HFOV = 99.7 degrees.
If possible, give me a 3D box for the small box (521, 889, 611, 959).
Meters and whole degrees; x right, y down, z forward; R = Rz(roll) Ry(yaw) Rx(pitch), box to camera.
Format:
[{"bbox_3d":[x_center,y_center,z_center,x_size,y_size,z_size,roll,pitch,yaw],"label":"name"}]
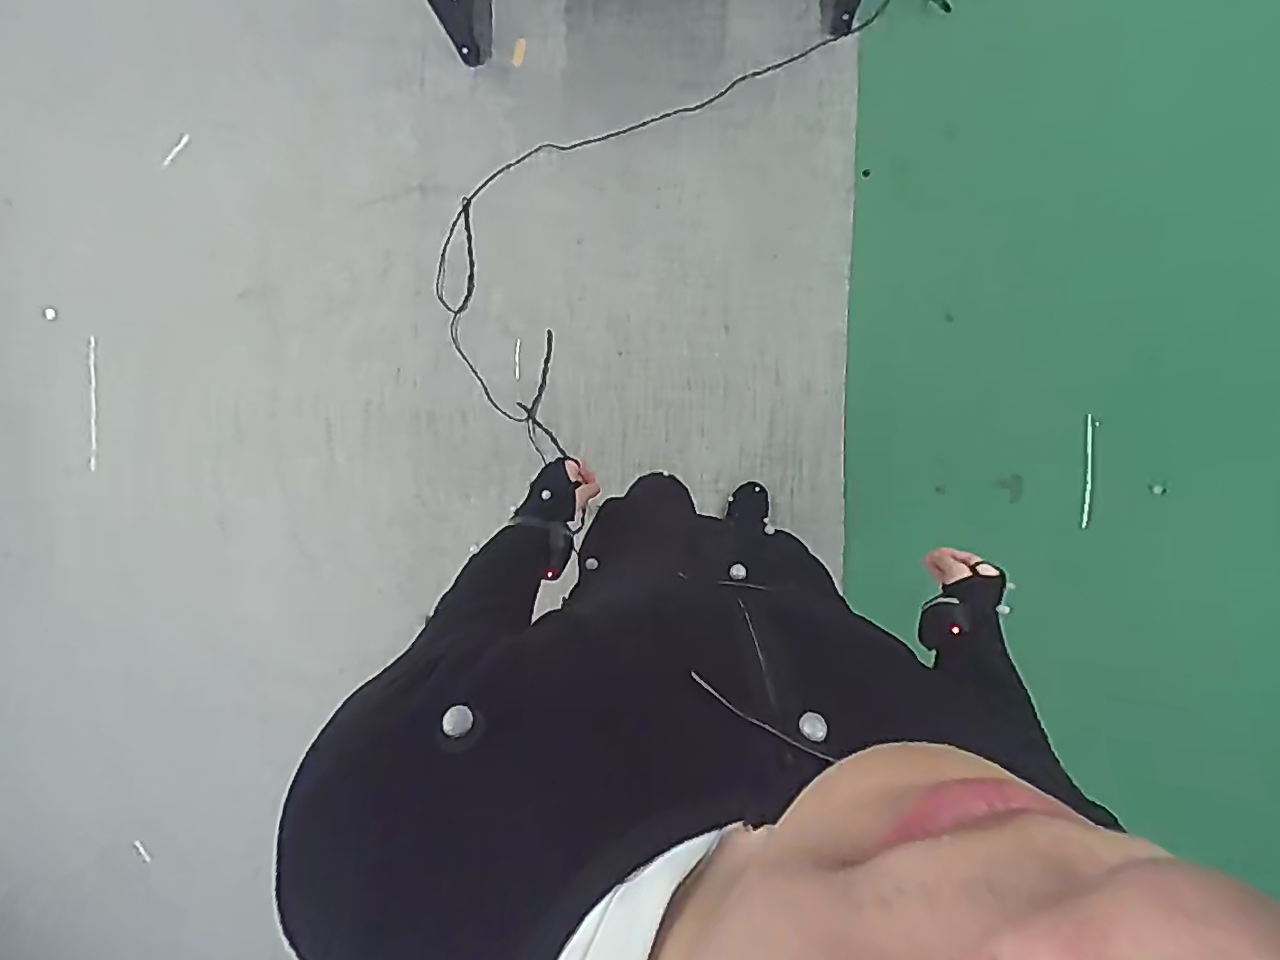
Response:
[{"bbox_3d":[-0.164,1.084,1.240,0.179,0.176,0.168,0,90,7],"label":"small box"}]
